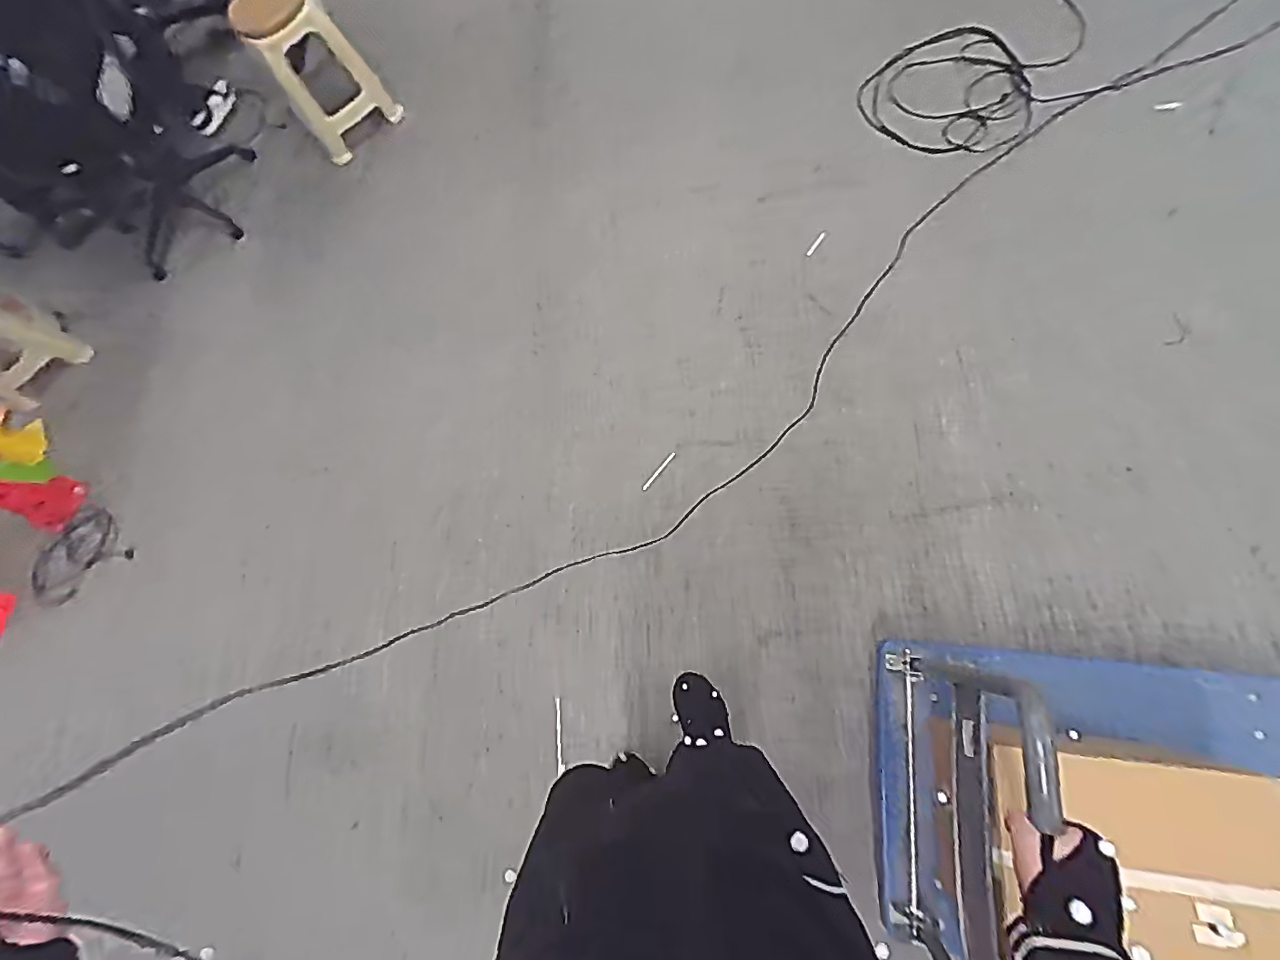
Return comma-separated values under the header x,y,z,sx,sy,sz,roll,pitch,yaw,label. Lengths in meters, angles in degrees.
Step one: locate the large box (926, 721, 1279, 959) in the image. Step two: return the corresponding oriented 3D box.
x,y,z,sx,sy,sz,roll,pitch,yaw,label
0.765,0.619,0.936,0.408,0.320,0.320,2,75,11,large box
